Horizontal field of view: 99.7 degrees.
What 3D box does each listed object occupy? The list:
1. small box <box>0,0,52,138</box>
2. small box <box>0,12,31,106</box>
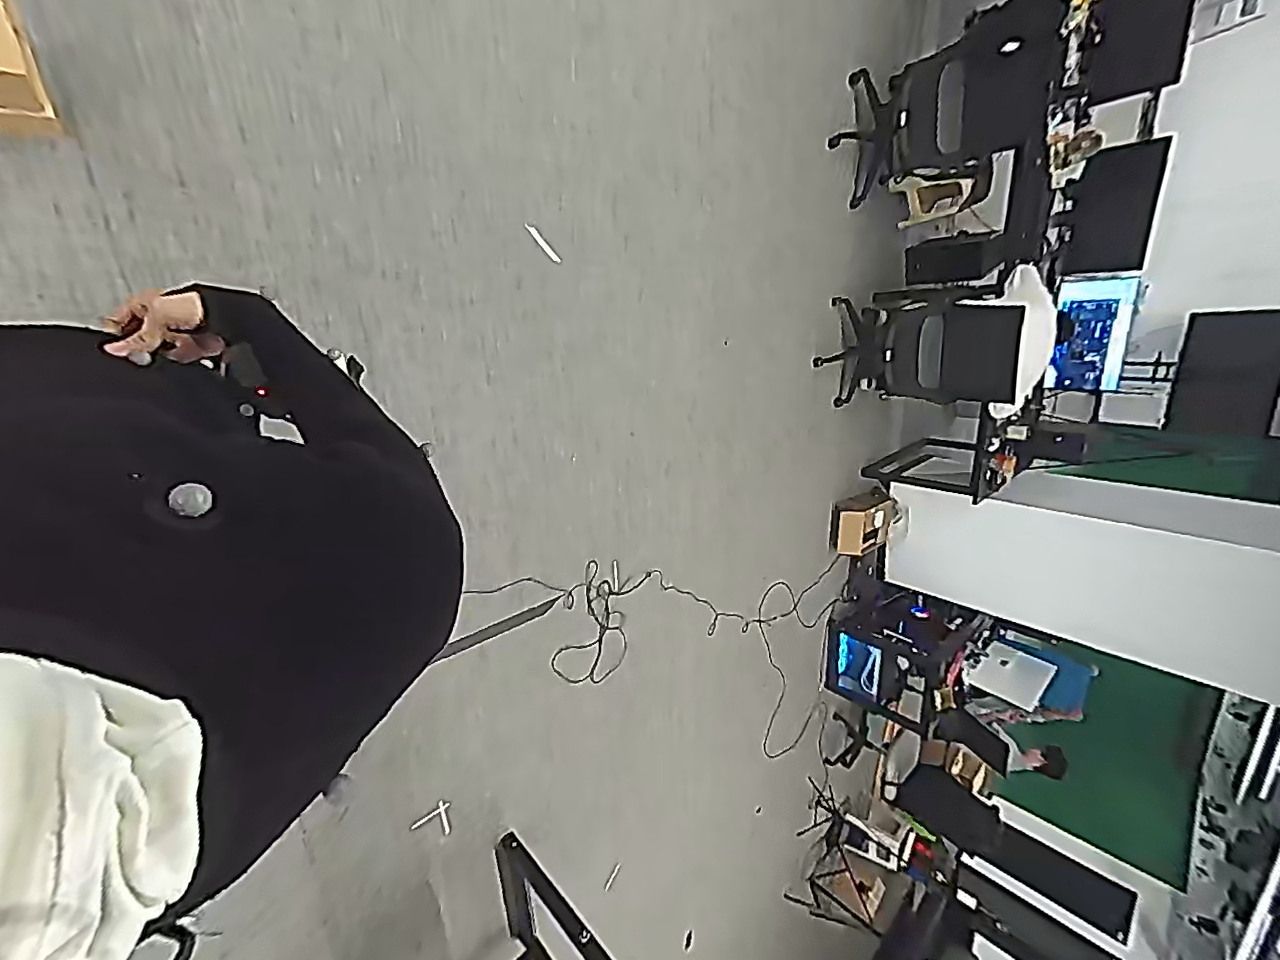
[{"bbox_3d":[-1.157,-0.708,0.922,0.168,0.176,0.179,-21,113,-38],"label":"small box"},{"bbox_3d":[-1.055,-0.683,0.796,0.168,0.176,0.179,-21,113,-39],"label":"small box"}]
